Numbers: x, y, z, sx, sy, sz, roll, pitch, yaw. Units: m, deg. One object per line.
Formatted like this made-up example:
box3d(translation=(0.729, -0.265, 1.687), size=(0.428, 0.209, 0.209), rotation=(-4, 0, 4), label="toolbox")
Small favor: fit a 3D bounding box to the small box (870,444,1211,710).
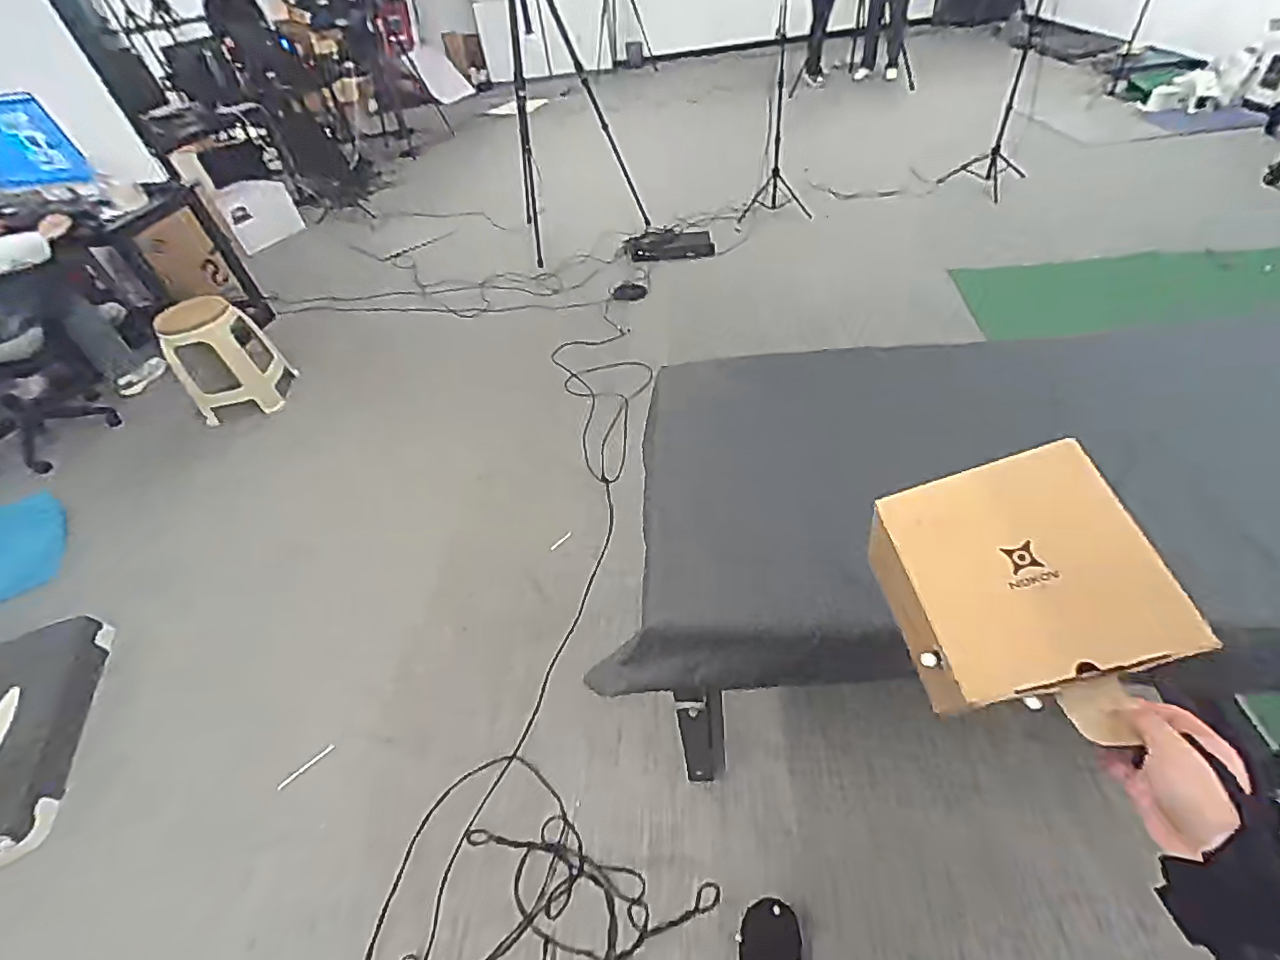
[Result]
box3d(translation=(0.329, 0.100, 0.499), size=(0.168, 0.176, 0.179), rotation=(-19, 61, 9), label="small box")
